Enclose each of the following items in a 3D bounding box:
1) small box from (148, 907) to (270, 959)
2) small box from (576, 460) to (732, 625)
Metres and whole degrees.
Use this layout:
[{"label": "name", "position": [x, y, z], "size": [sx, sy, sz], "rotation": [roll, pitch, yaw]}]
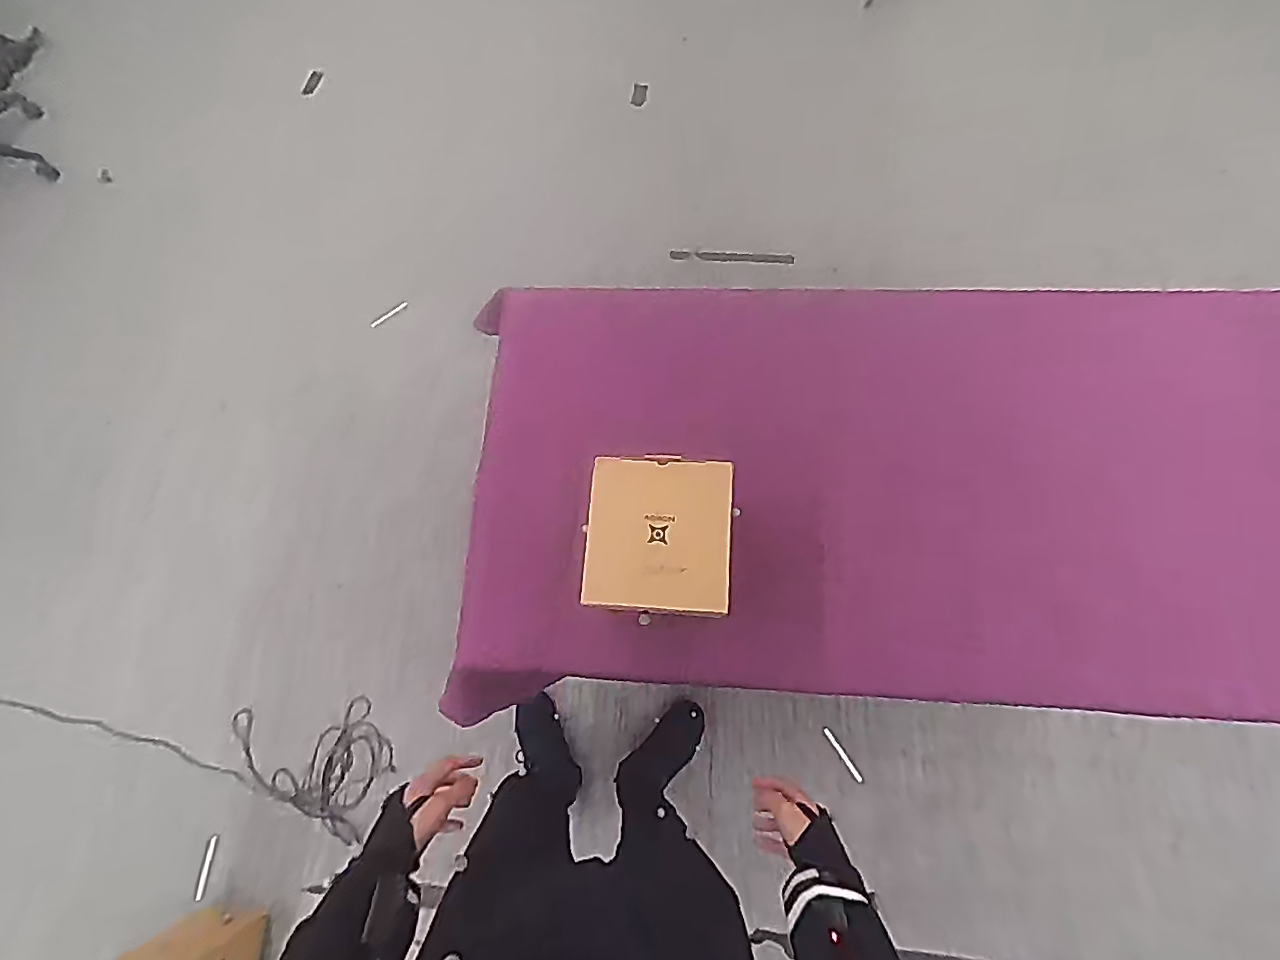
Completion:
[{"label": "small box", "position": [-0.998, 1.132, 1.244], "size": [0.168, 0.176, 0.179], "rotation": [2, 74, 6]}, {"label": "small box", "position": [0.024, 0.086, 0.684], "size": [0.168, 0.176, 0.179], "rotation": [3, 75, 7]}]
